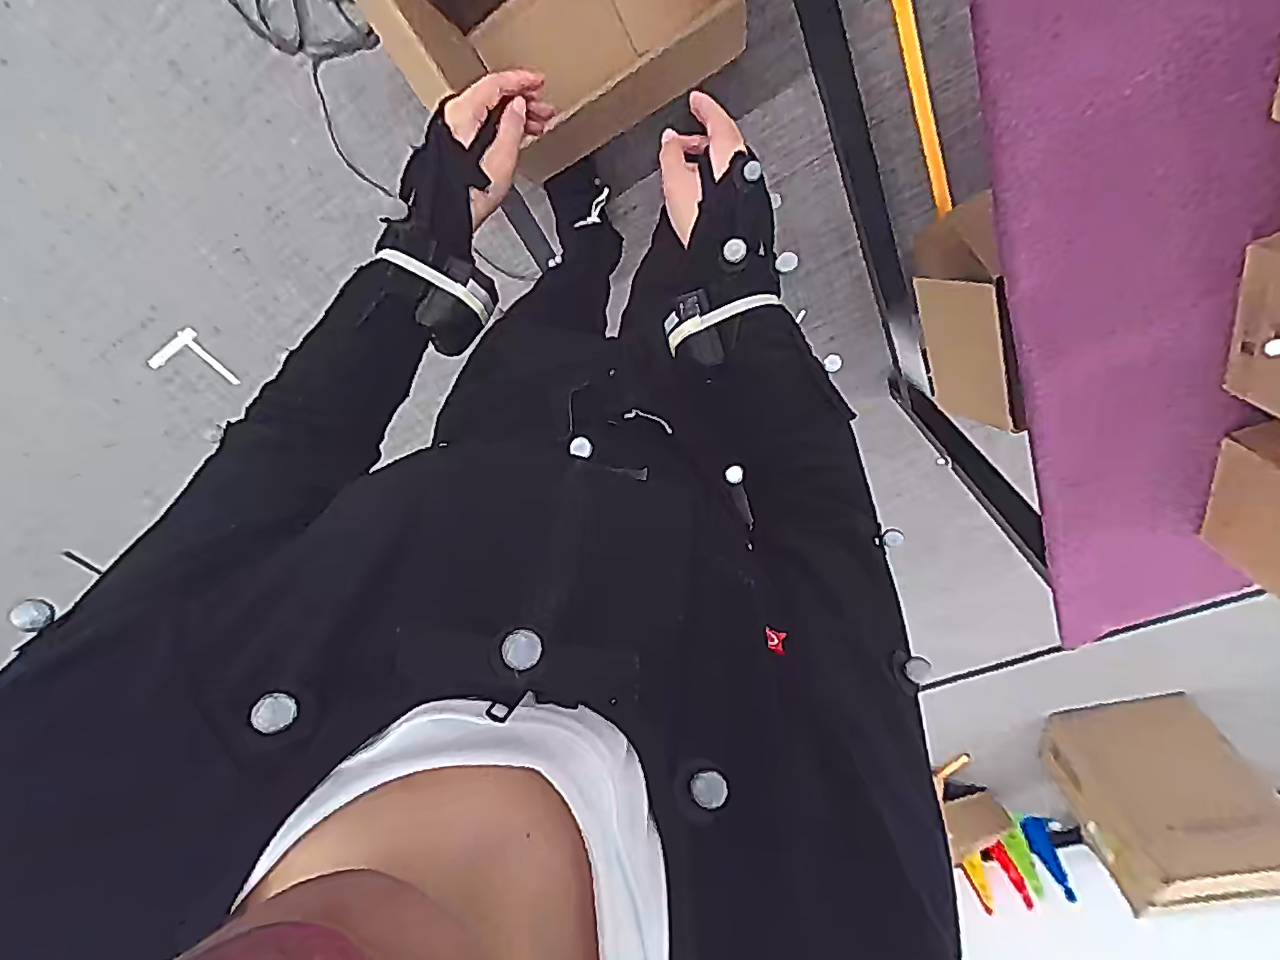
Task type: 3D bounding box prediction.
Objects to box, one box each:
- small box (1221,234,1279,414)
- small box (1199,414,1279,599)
[{"bbox_3d":[0.665,-0.141,0.448,0.179,0.176,0.168,-21,124,14],"label":"small box"},{"bbox_3d":[0.770,0.030,0.581,0.168,0.176,0.179,-20,124,12],"label":"small box"}]
